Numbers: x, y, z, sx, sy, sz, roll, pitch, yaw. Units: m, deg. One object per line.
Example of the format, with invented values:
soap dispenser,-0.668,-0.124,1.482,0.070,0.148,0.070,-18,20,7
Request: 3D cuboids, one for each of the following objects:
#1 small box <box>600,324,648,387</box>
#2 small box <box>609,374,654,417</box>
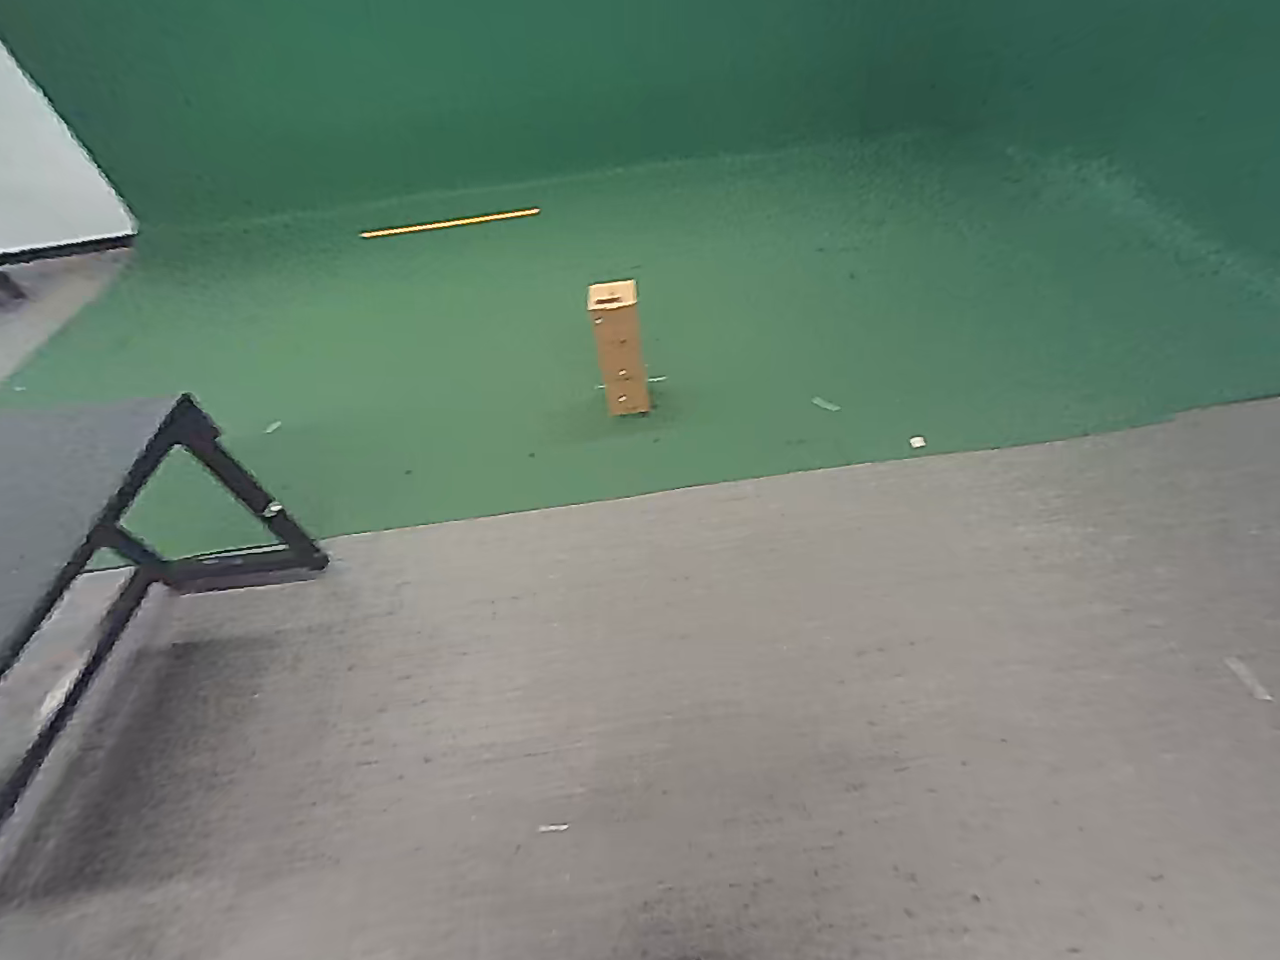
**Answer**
small box,-0.061,-0.489,2.132,0.168,0.176,0.179,-7,47,4
small box,-0.037,-0.378,2.253,0.168,0.176,0.179,-9,47,2
